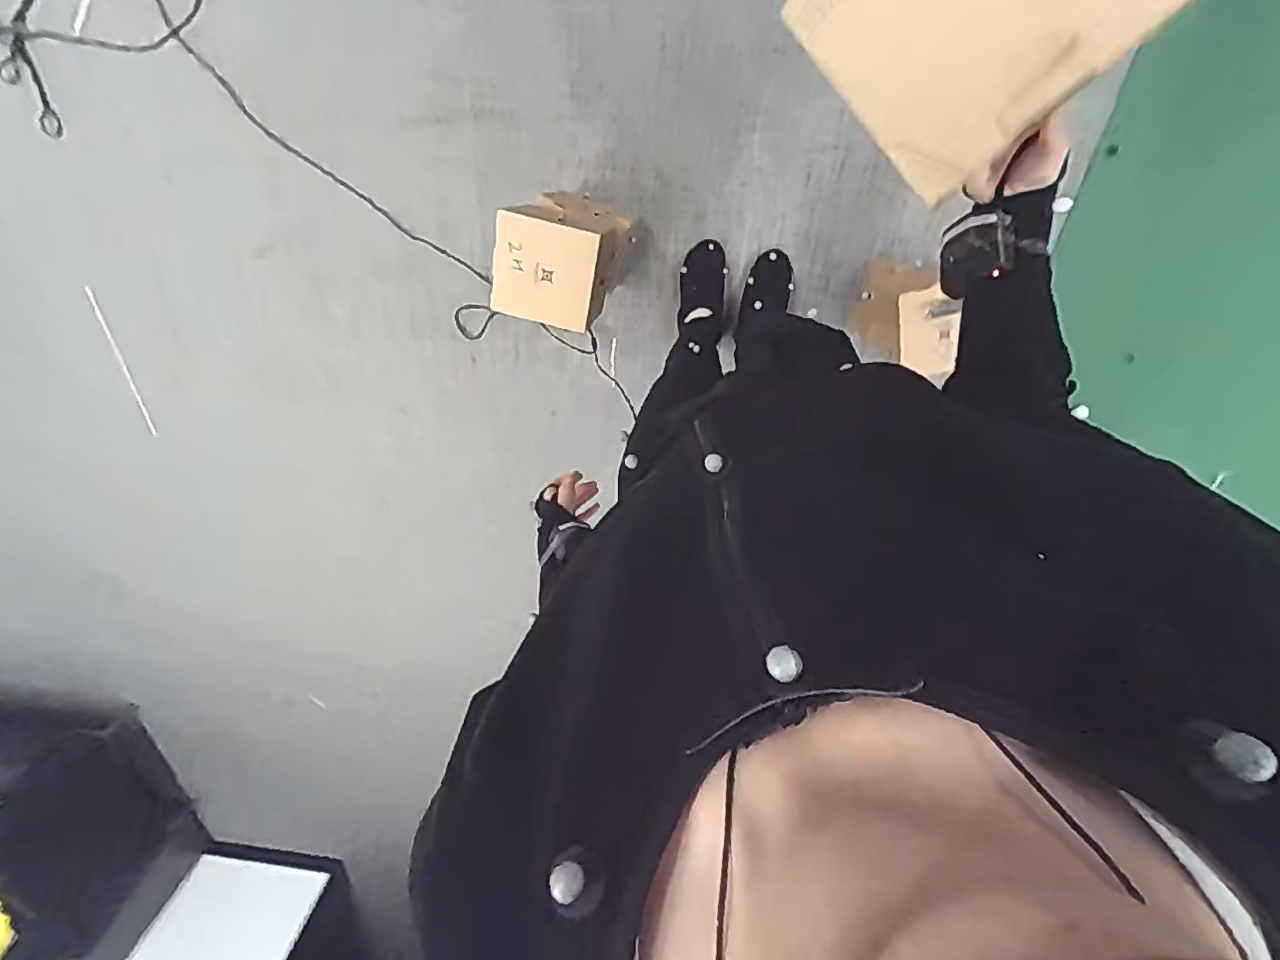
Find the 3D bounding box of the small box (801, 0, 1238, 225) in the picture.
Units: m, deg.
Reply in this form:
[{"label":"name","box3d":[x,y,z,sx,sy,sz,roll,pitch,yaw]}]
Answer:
[{"label":"small box","box3d":[0.237,-0.309,0.337,0.176,0.179,0.168,48,152,-5]}]

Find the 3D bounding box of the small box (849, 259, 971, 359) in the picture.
[{"label":"small box","box3d":[0.607,-0.400,1.246,0.179,0.176,0.168,15,121,-1]}]

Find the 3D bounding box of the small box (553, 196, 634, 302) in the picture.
[{"label":"small box","box3d":[-0.119,-0.543,1.257,0.168,0.176,0.179,20,121,-4]}]

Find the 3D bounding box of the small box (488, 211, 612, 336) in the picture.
[{"label":"small box","box3d":[-0.156,-0.380,0.976,0.179,0.176,0.168,14,119,0]}]
